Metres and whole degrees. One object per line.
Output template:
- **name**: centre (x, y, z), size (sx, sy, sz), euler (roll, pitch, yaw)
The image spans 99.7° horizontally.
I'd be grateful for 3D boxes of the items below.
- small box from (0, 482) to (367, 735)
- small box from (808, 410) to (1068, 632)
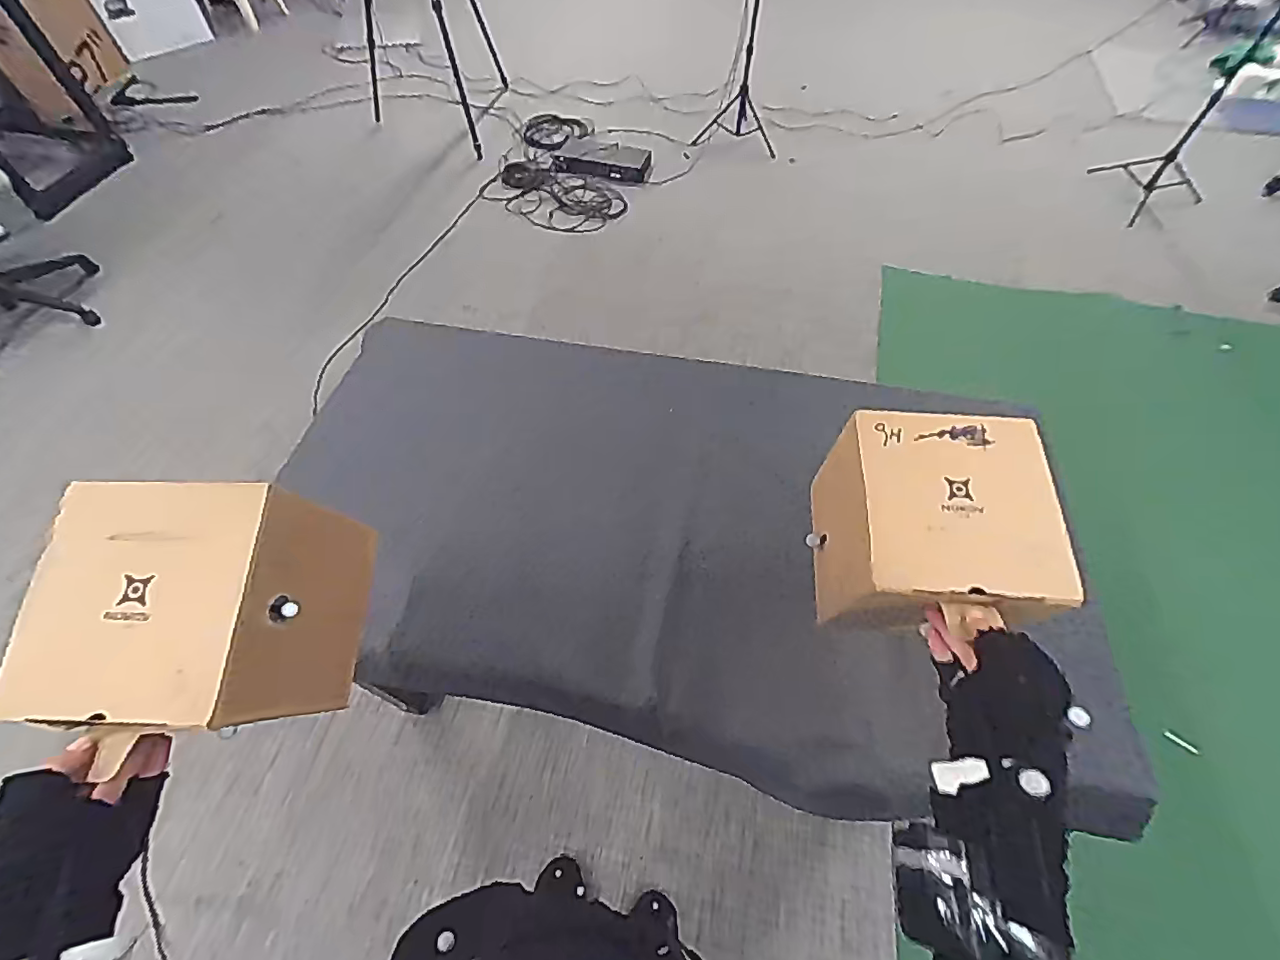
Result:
- **small box**: centre (-0.362, 0.110, 0.461), size (0.168, 0.176, 0.179), euler (0, 71, 2)
- **small box**: centre (0.275, 0.050, 0.547), size (0.168, 0.176, 0.179), euler (4, 65, 3)
